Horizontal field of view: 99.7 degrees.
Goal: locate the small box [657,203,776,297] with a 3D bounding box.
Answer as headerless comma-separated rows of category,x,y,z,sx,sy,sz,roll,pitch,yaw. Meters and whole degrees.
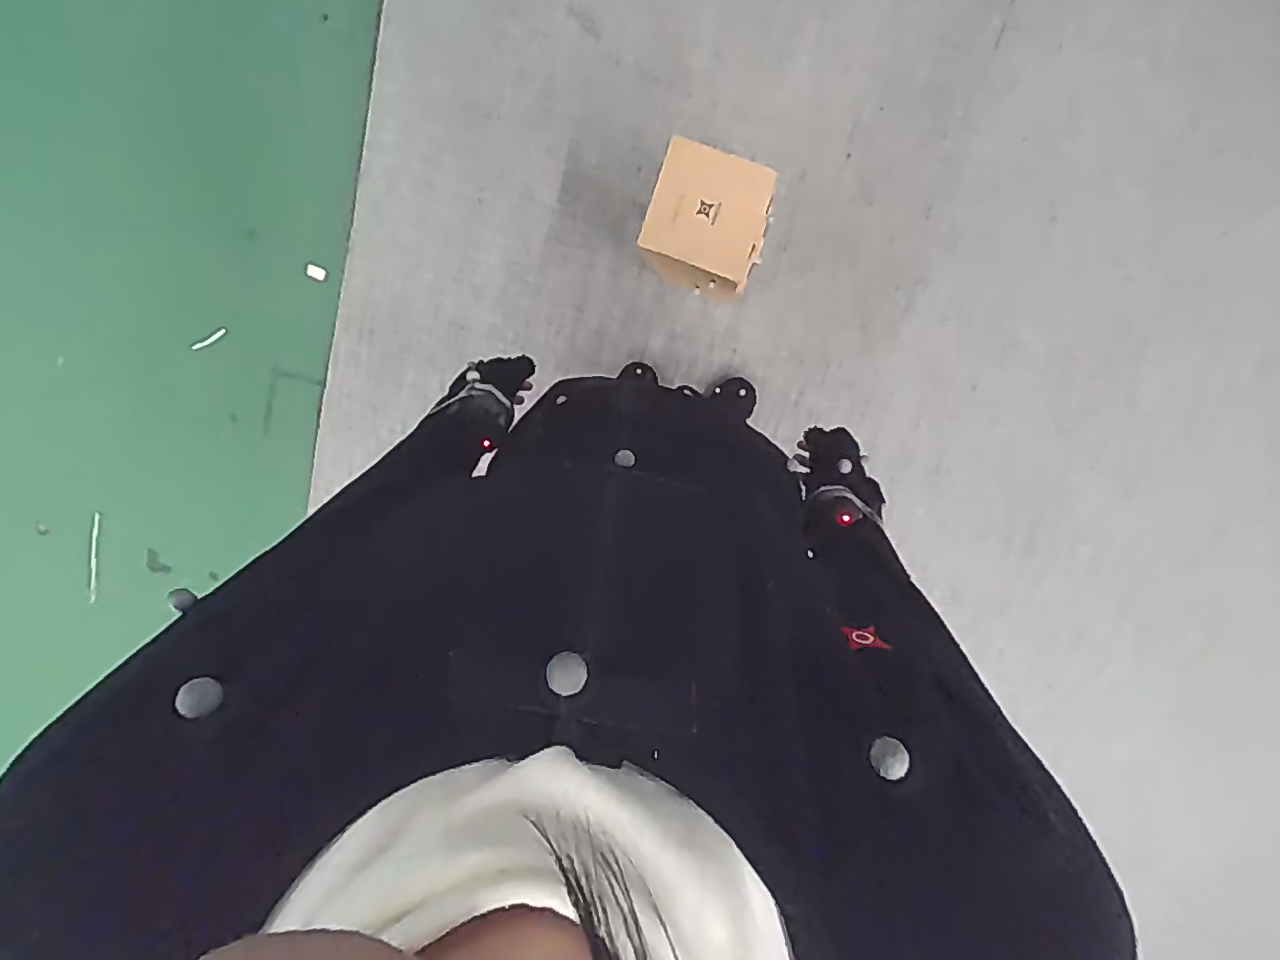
small box,0.145,-0.468,1.060,0.179,0.176,0.168,21,105,1

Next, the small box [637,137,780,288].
small box,0.113,-0.431,0.904,0.179,0.176,0.168,20,104,3
